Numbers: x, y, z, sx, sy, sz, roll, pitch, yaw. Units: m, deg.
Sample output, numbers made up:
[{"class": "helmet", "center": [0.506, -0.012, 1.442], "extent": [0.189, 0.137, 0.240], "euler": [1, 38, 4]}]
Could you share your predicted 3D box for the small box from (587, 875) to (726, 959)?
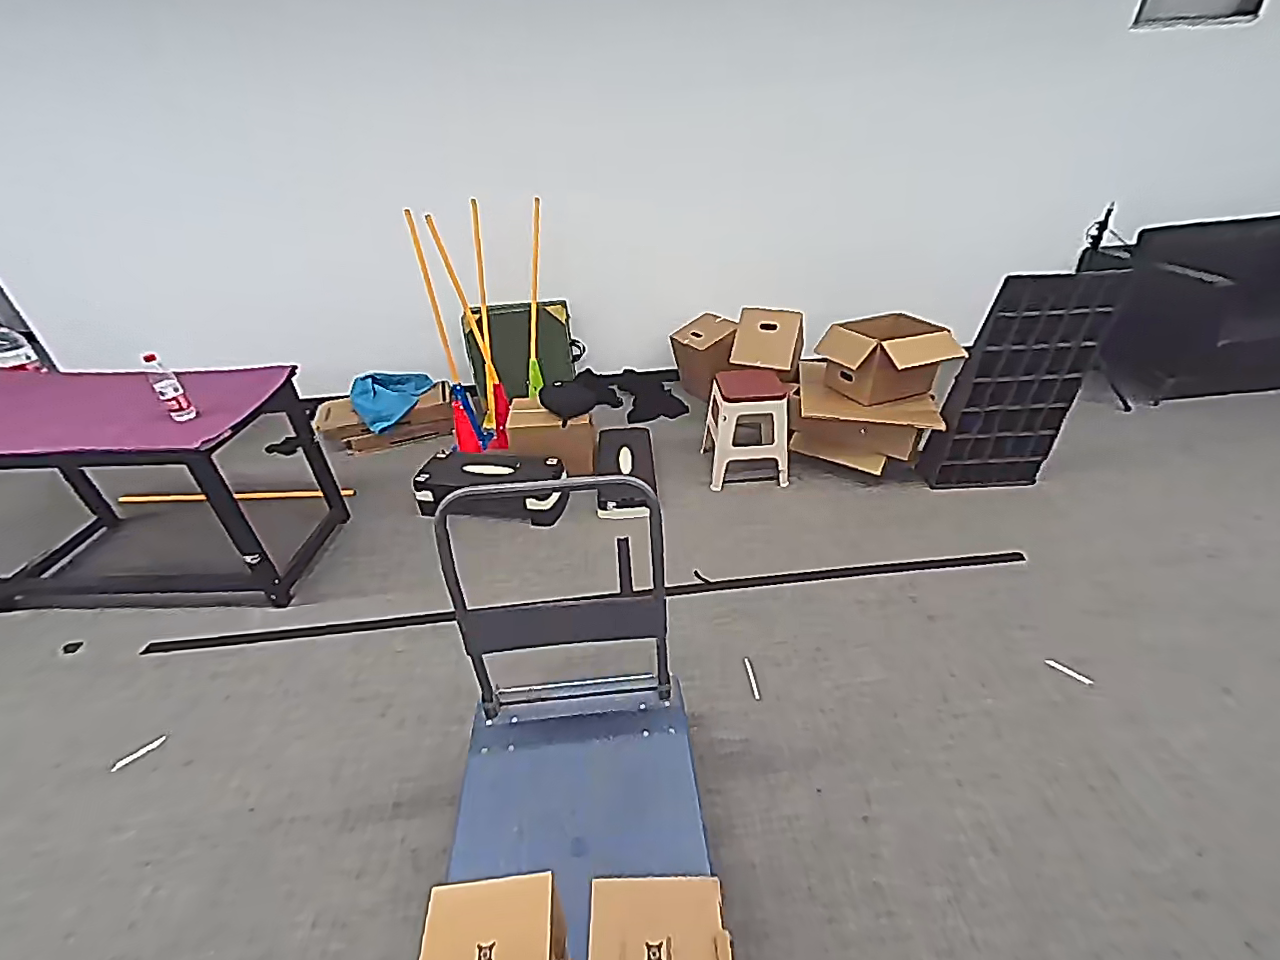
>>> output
[{"class": "small box", "center": [0.023, 0.656, 0.721], "extent": [0.179, 0.176, 0.168], "euler": [-2, 34, 2]}]

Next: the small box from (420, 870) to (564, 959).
[{"class": "small box", "center": [-0.193, 0.662, 0.722], "extent": [0.168, 0.176, 0.179], "euler": [-4, 35, -4]}]
